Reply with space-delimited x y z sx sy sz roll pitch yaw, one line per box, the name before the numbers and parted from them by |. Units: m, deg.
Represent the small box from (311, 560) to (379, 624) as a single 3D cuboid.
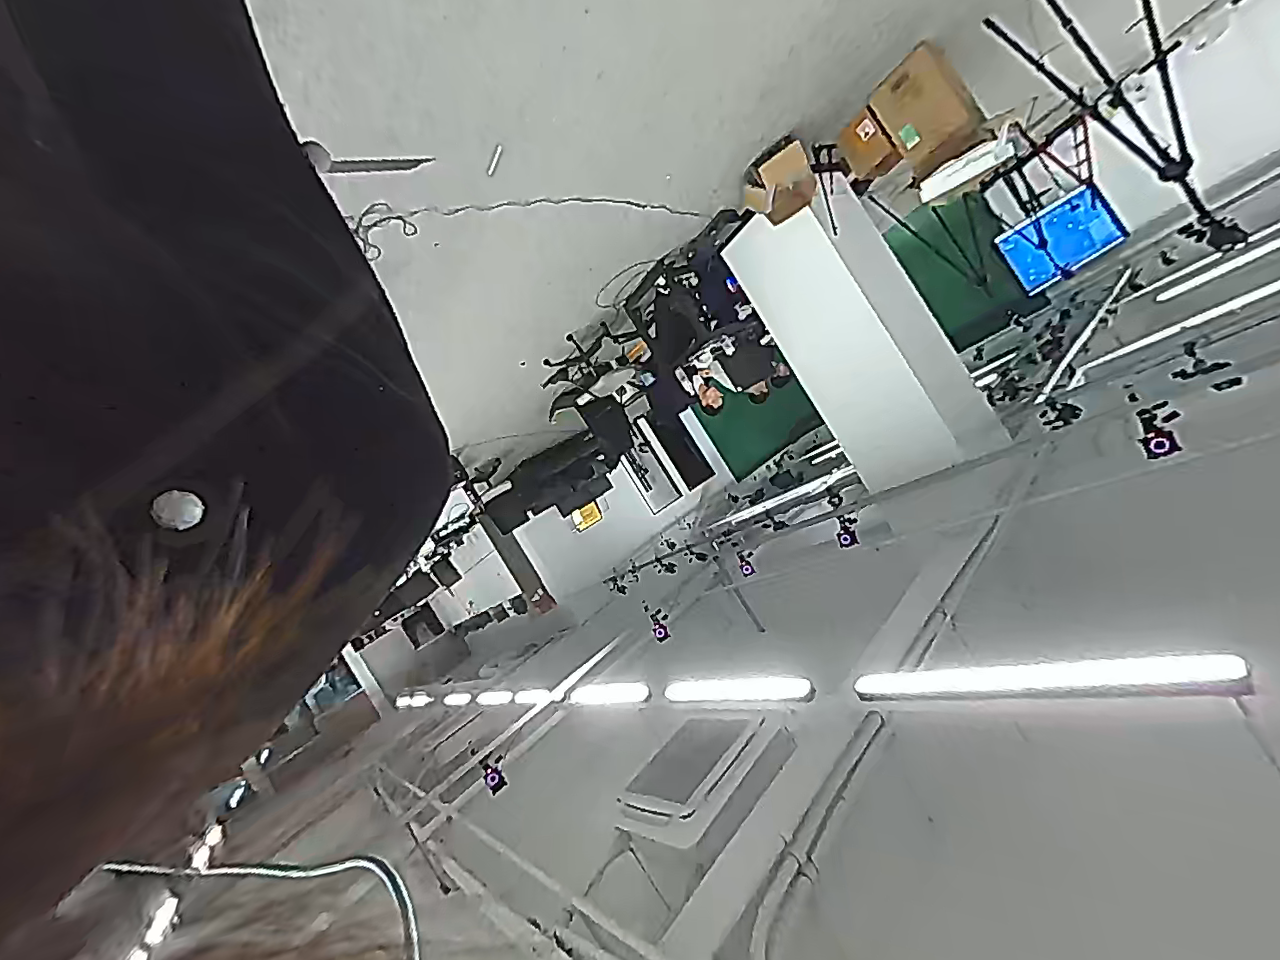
small box | -1.145 0.429 2.092 0.168 0.176 0.179 -32 180 -39
